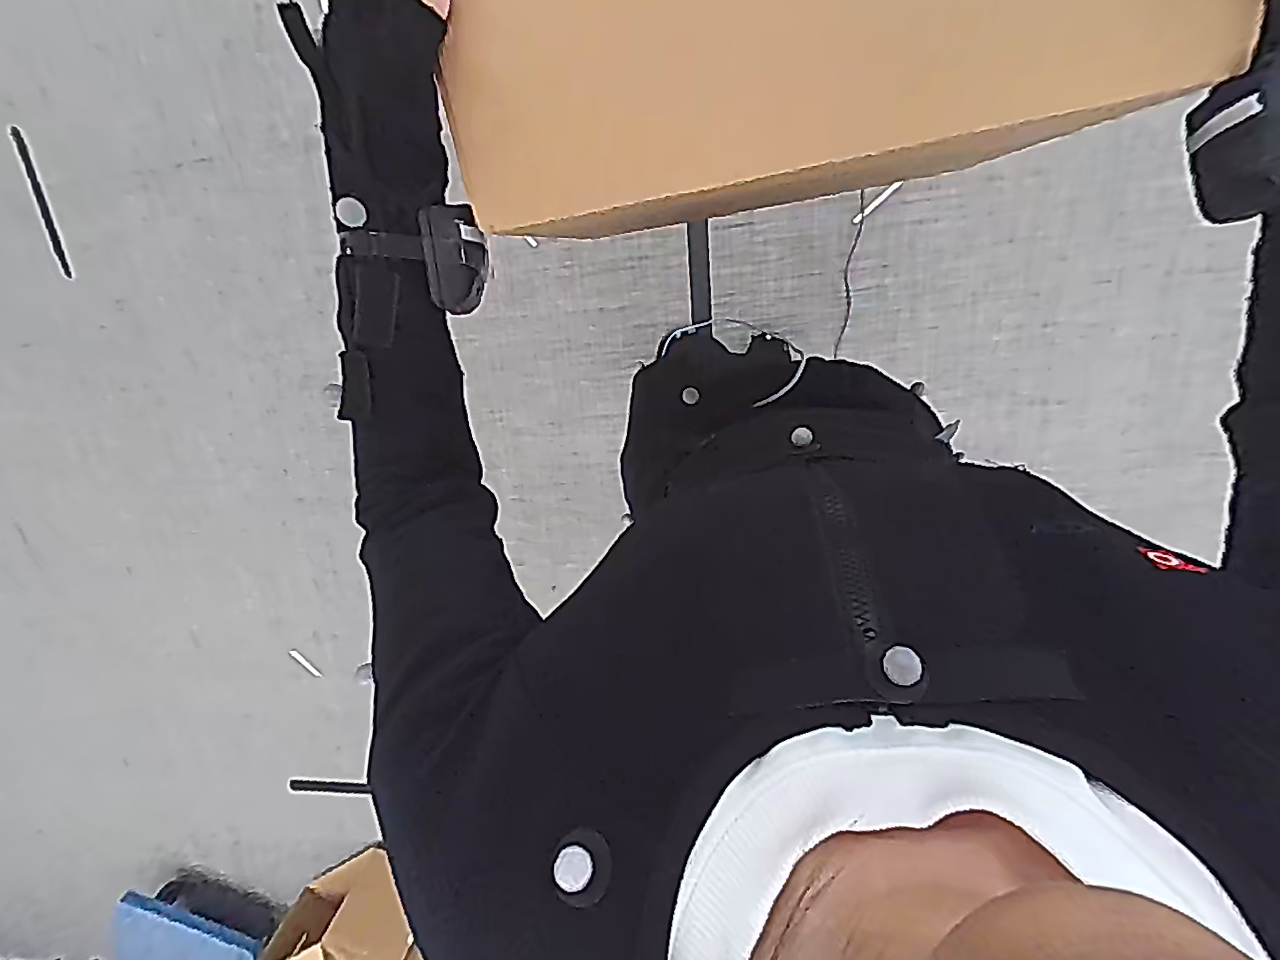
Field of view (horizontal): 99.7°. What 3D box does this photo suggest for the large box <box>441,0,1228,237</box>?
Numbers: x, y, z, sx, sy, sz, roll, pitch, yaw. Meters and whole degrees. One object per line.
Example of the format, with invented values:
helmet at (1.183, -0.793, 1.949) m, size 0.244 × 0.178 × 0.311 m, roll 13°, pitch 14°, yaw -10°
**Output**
large box at (0.090, -0.386, 0.394) m, size 0.408 × 0.320 × 0.320 m, roll -7°, pitch 112°, yaw 10°
